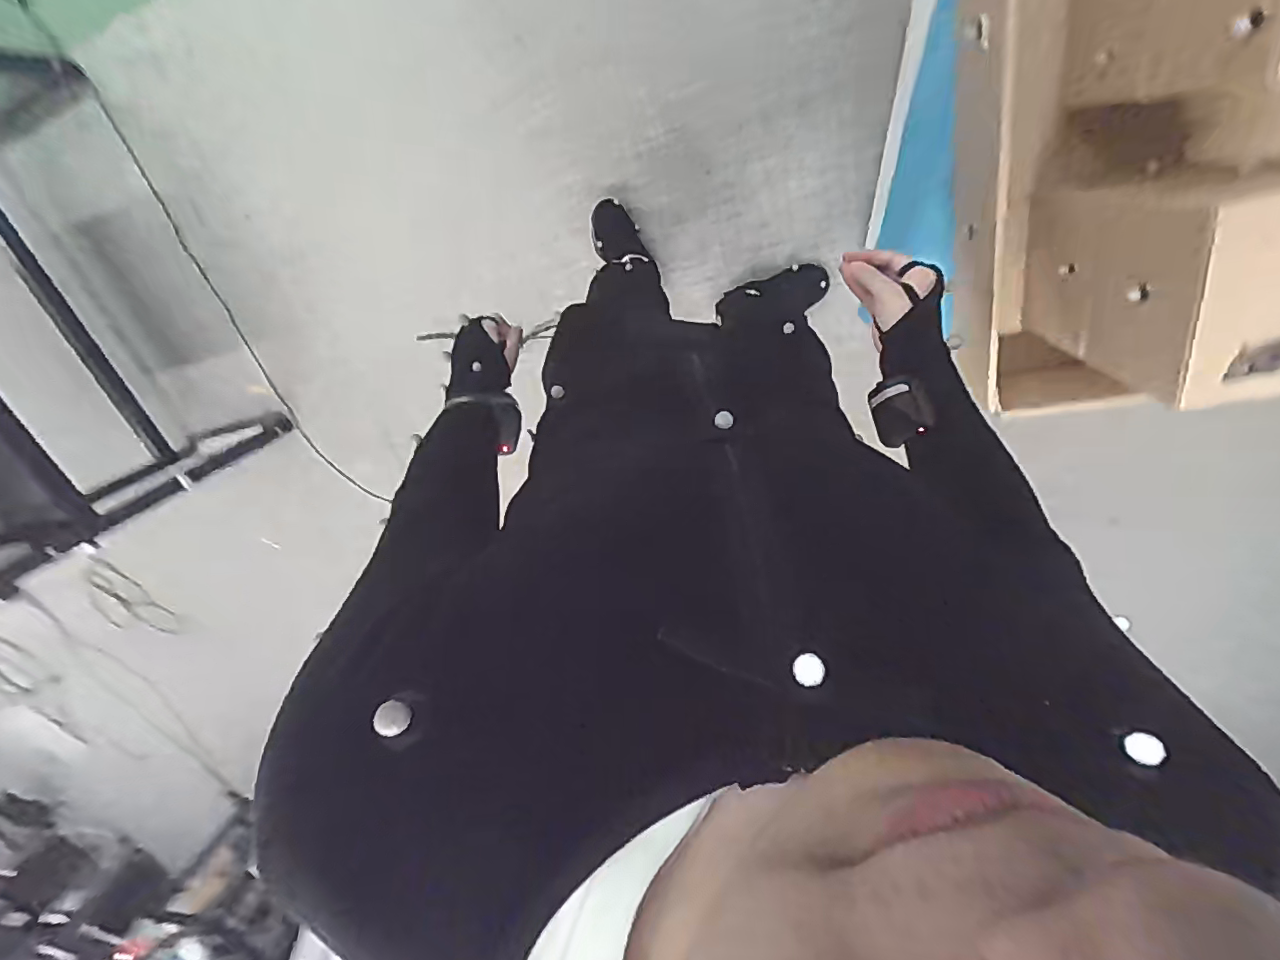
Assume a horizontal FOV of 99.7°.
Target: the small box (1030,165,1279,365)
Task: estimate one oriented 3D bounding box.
[{"bbox_3d":[0.590,-0.251,0.635,0.168,0.176,0.179,-6,116,16],"label":"small box"}]
